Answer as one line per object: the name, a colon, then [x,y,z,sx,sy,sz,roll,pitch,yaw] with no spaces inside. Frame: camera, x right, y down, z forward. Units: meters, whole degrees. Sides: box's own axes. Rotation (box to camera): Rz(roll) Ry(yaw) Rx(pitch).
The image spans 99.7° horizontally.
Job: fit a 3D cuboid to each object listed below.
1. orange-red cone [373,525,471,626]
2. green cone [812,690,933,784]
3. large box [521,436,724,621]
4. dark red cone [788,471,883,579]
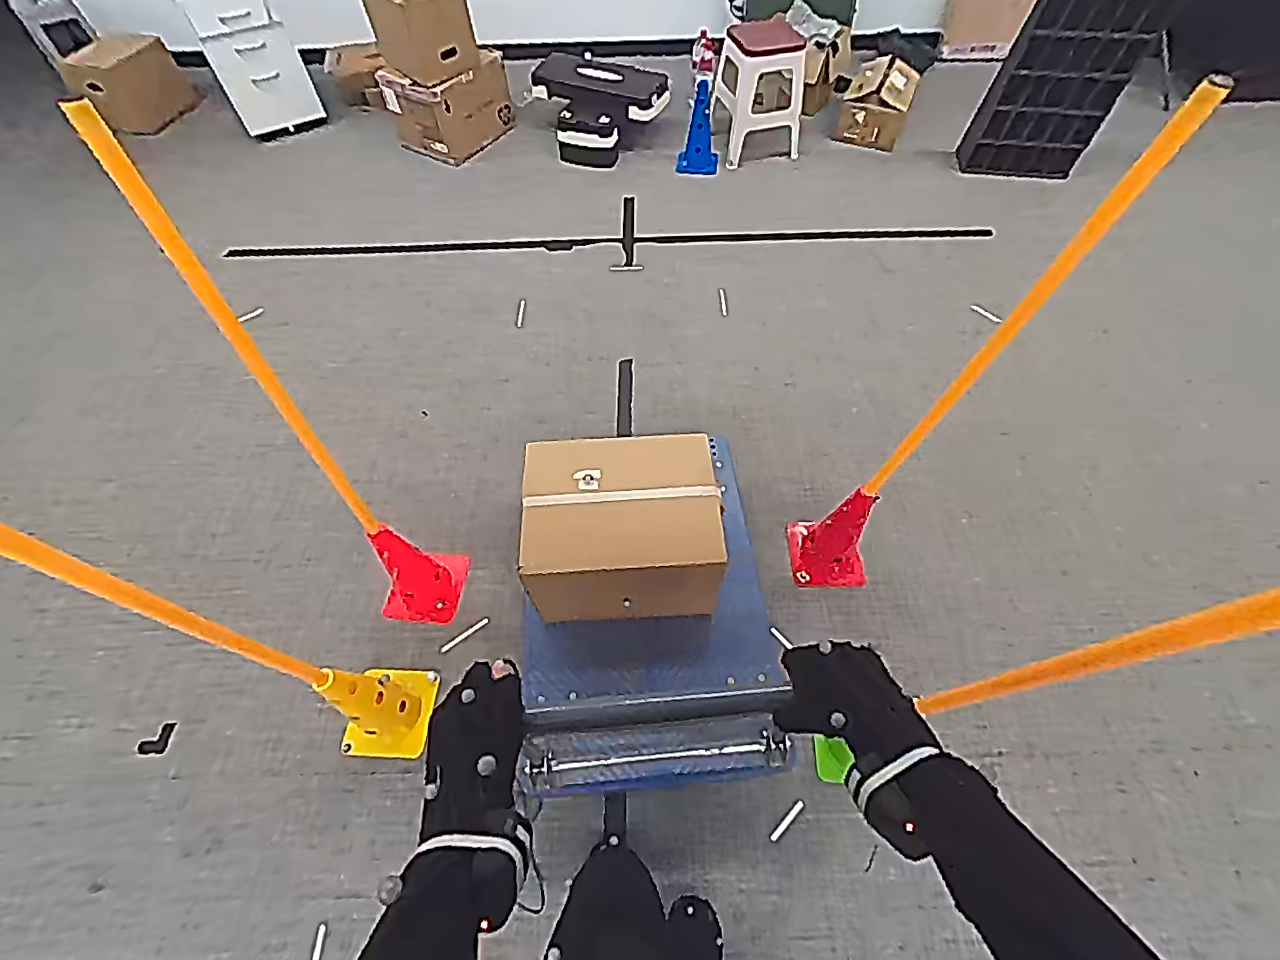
orange-red cone: [-0.594,0.213,1.383,0.198,0.360,0.199,6,56,4]
green cone: [0.521,0.521,1.154,0.202,0.368,0.200,3,57,2]
large box: [-0.037,0.124,1.252,0.408,0.320,0.320,-4,58,0]
dark red cone: [0.535,0.103,1.401,0.201,0.394,0.202,0,58,-1]
